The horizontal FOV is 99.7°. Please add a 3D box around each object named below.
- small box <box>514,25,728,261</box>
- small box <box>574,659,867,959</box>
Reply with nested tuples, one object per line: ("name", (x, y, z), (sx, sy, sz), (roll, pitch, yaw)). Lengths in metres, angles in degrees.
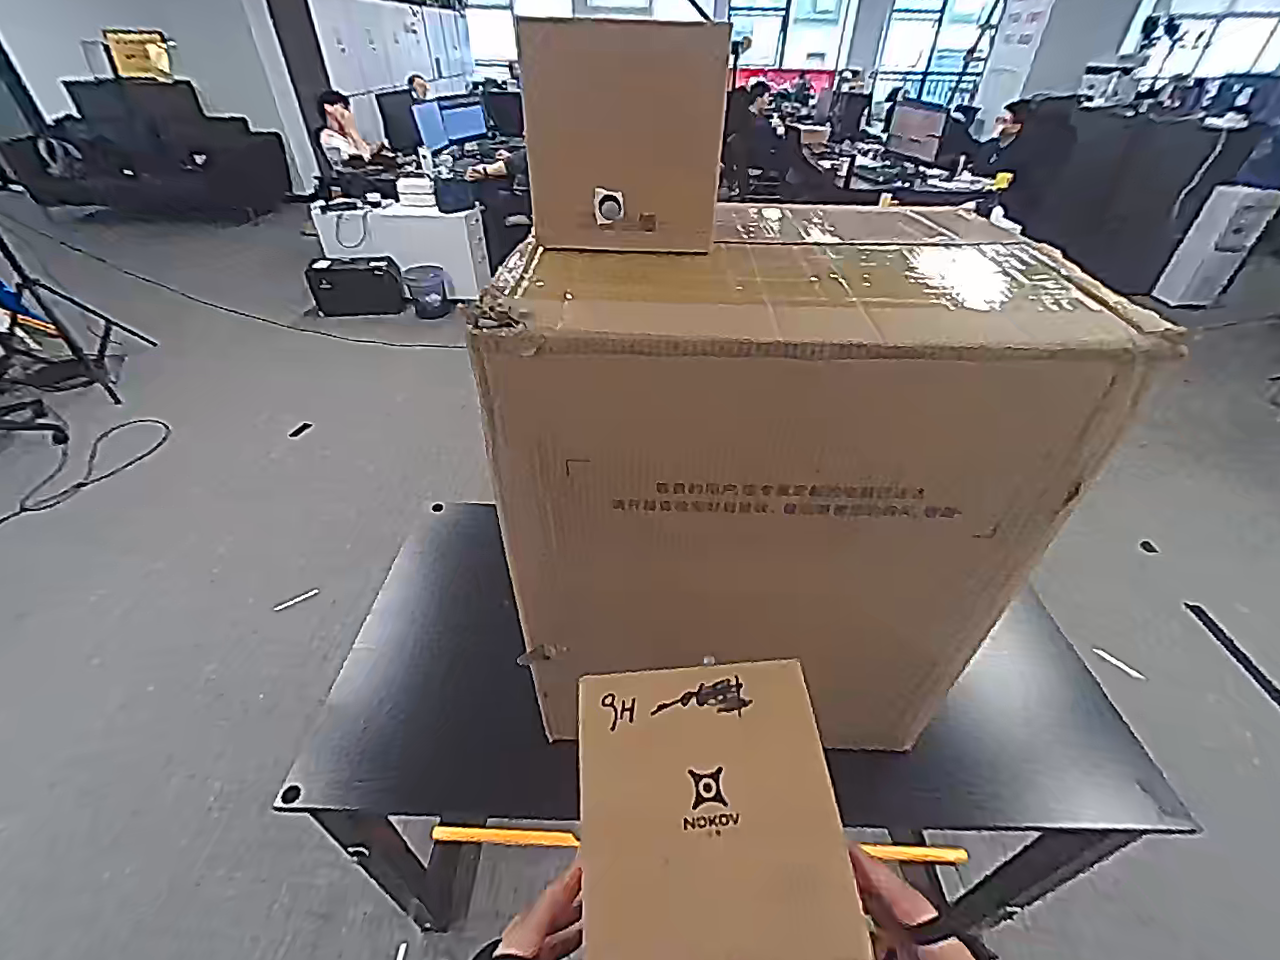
("small box", (-0.016, -0.322, 0.519), (0.168, 0.176, 0.179), (-1, 38, -1))
("small box", (0.042, 0.253, 0.410), (0.168, 0.176, 0.179), (-5, 55, -3))
